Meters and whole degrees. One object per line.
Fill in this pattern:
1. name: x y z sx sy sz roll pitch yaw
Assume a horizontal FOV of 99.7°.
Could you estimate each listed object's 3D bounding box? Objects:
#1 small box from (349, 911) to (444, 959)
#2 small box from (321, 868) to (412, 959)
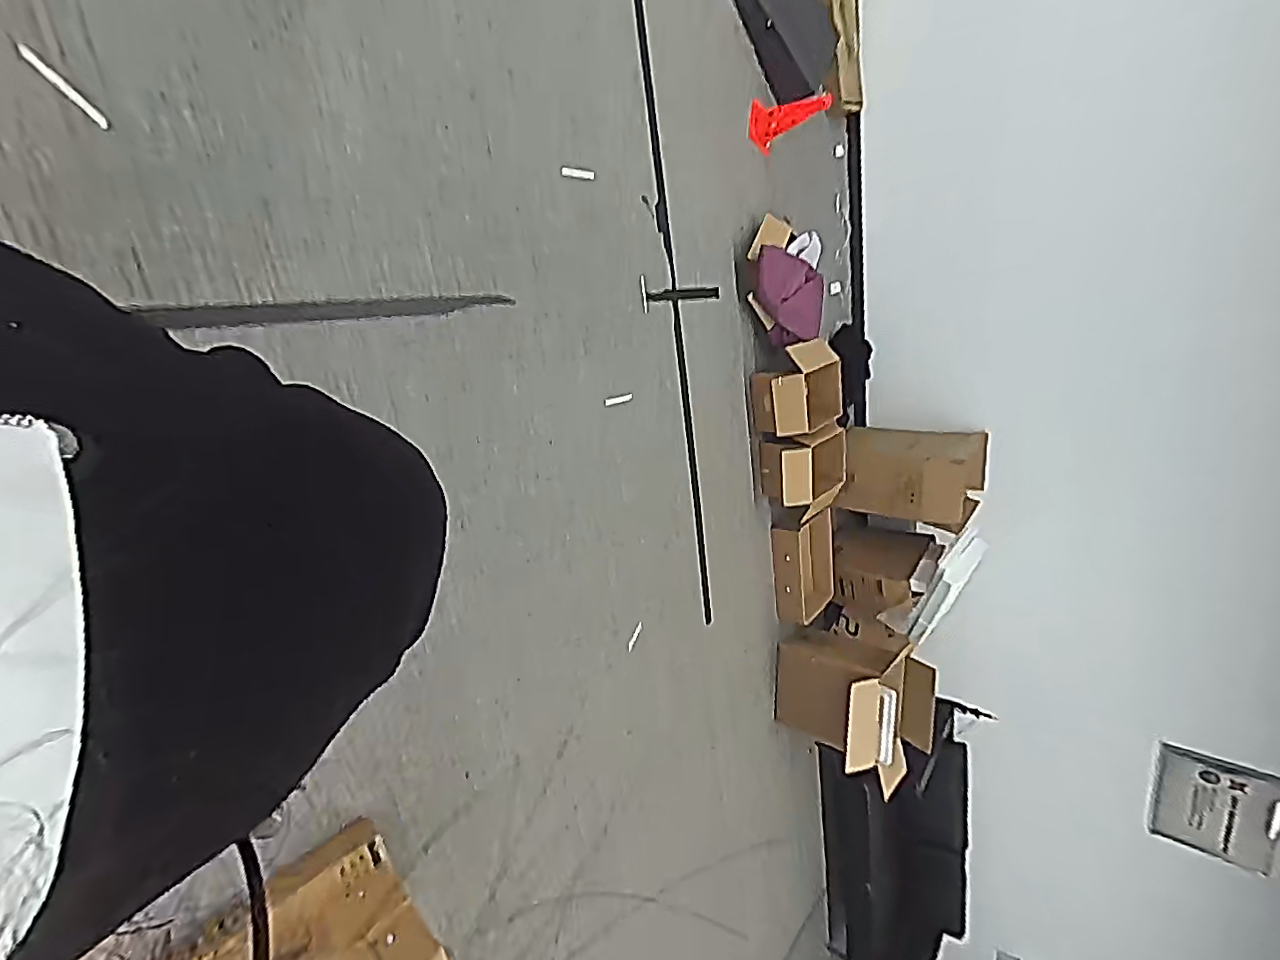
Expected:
1. small box: -0.565 1.191 1.282 0.168 0.176 0.179 -25 114 -42
2. small box: -0.688 1.159 1.387 0.168 0.176 0.179 -24 112 -43
